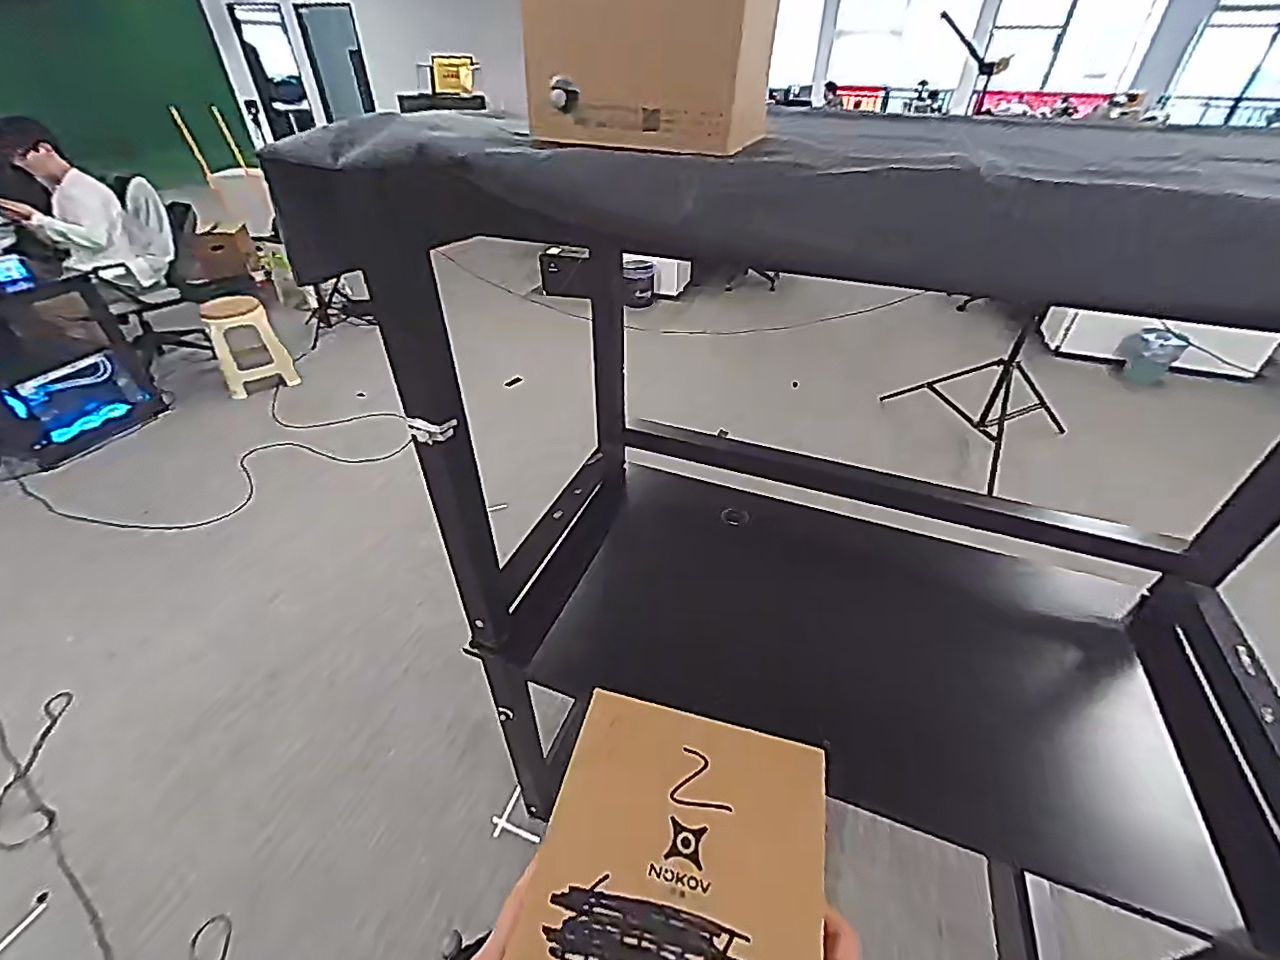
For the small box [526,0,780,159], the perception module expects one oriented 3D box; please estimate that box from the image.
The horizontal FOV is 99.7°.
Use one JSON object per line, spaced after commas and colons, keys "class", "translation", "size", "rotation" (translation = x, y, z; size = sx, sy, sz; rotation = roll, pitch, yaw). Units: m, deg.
{"class": "small box", "translation": [0.019, -0.366, 0.436], "size": [0.168, 0.176, 0.179], "rotation": [13, 37, 13]}
